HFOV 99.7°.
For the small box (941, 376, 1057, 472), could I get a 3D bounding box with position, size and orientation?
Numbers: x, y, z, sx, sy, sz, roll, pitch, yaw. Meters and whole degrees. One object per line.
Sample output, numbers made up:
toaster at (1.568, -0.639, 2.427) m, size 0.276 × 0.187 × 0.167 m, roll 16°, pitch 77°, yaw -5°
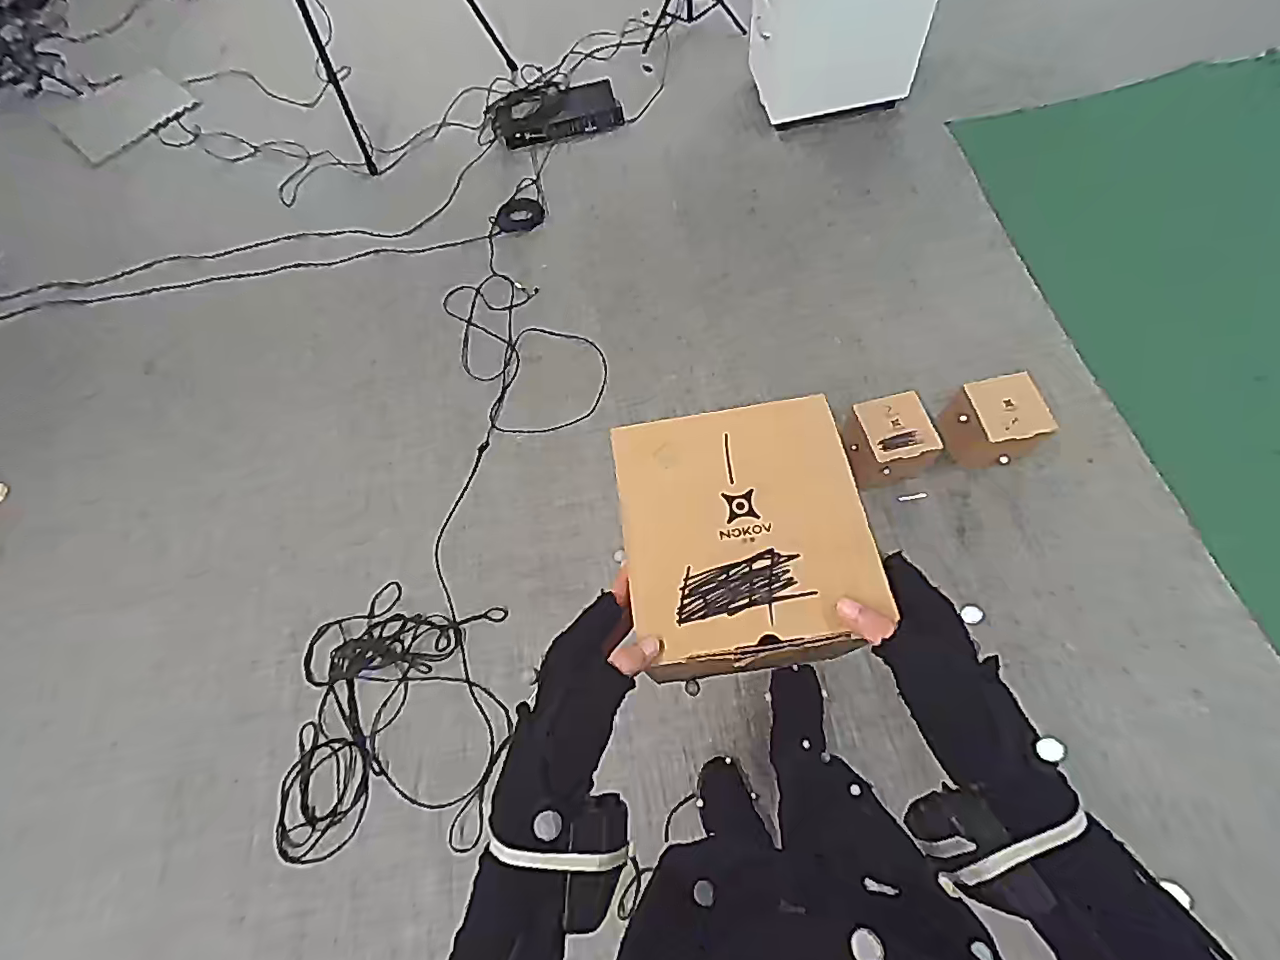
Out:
small box at (0.927, -0.142, 1.418) m, size 0.168 × 0.176 × 0.179 m, roll -11°, pitch 66°, yaw 3°
